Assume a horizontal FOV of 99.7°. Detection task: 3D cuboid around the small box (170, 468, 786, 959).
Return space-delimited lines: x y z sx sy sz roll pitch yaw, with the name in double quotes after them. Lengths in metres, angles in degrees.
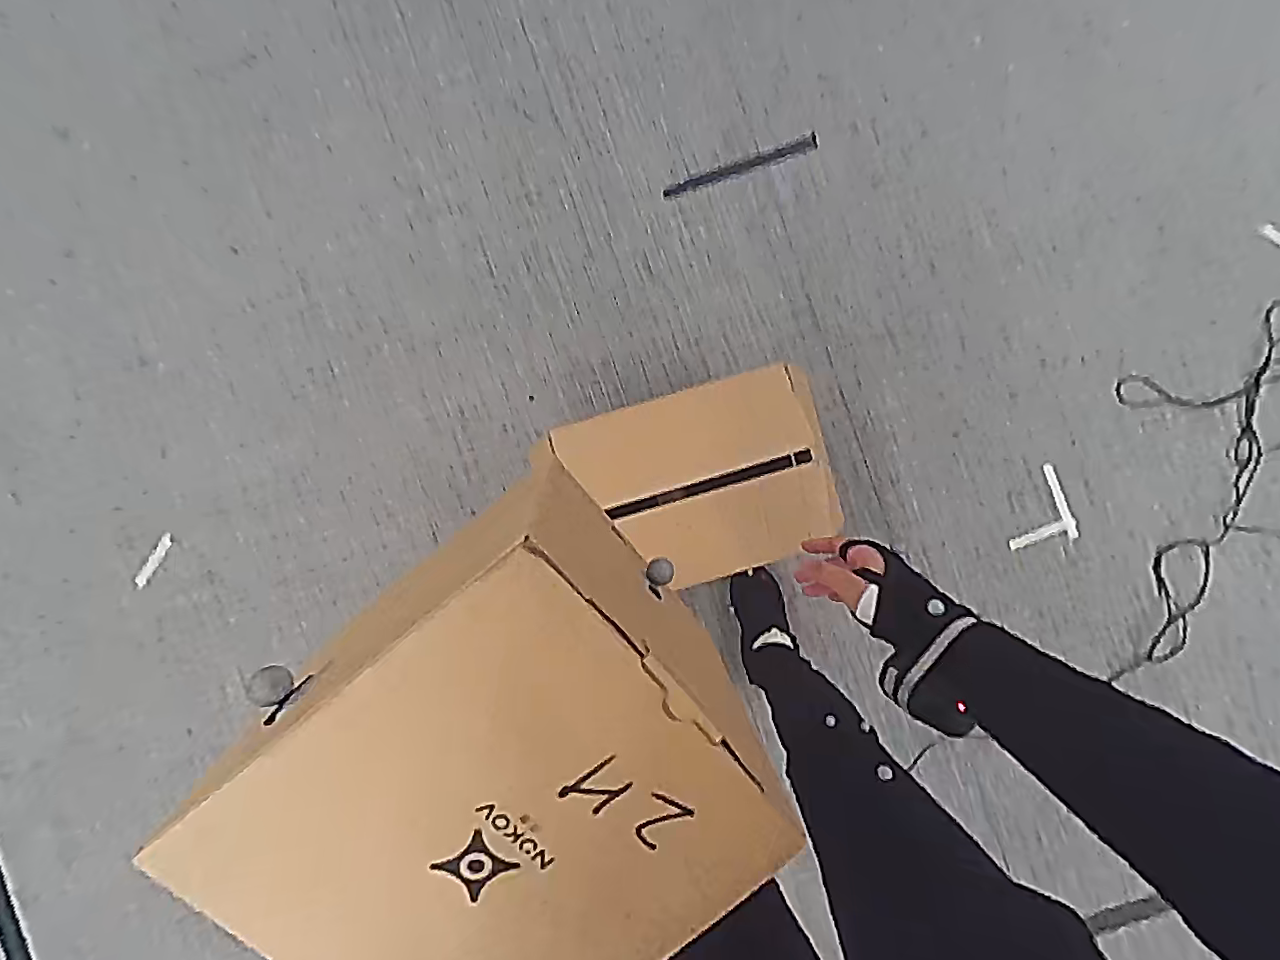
-0.063 0.117 0.285 0.179 0.176 0.168 -39 104 2 "small box"
